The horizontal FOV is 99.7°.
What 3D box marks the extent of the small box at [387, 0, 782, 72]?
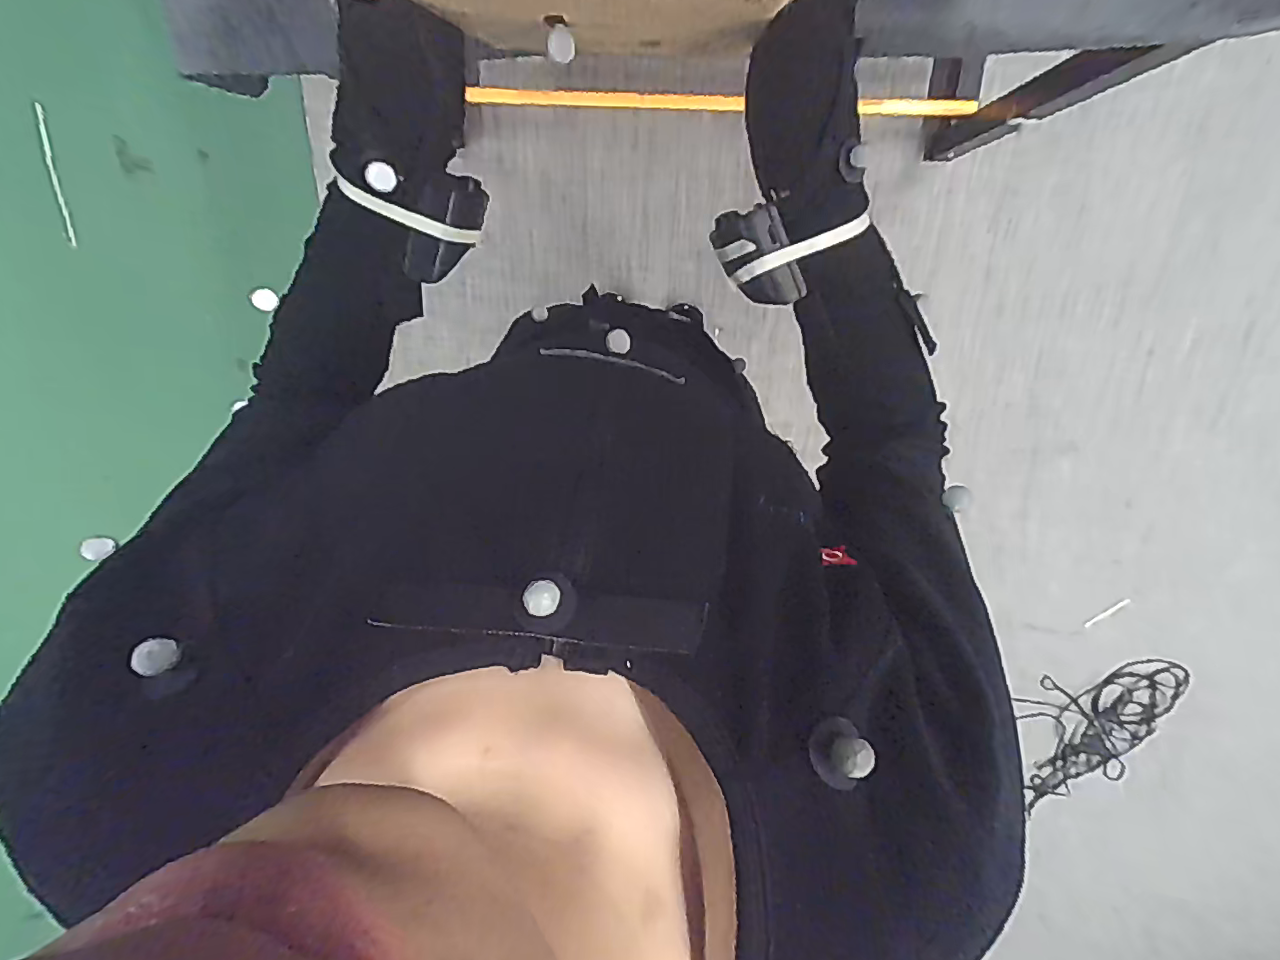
[{"bbox_3d":[-0.014,-0.301,0.241,0.168,0.176,0.179,4,120,2],"label":"small box"}]
